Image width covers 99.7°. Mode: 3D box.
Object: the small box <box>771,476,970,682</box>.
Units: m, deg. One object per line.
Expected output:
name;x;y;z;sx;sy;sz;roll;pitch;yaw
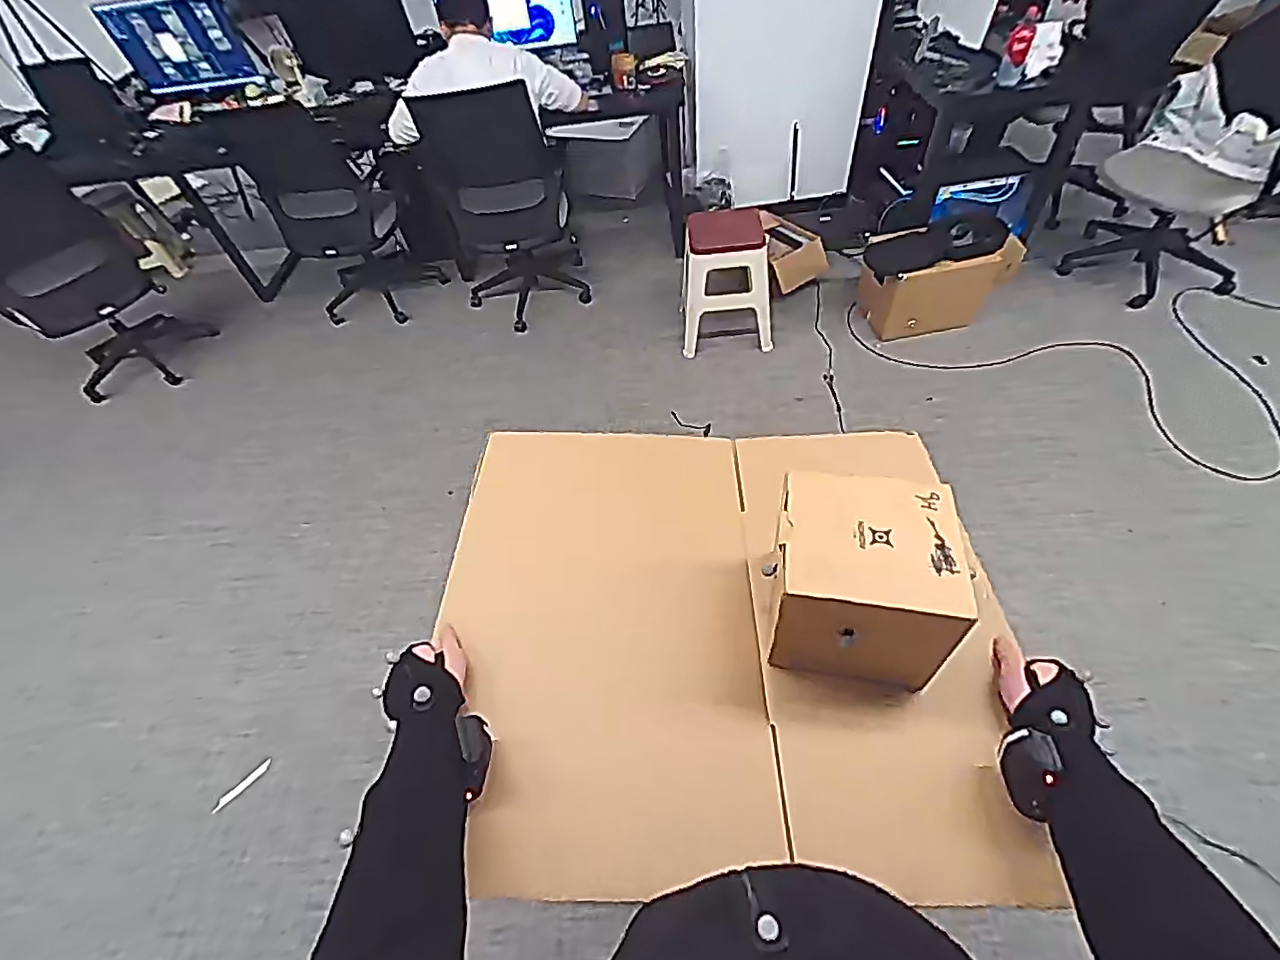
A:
small box;0.247;0.116;0.625;0.179;0.176;0.168;5;50;12
